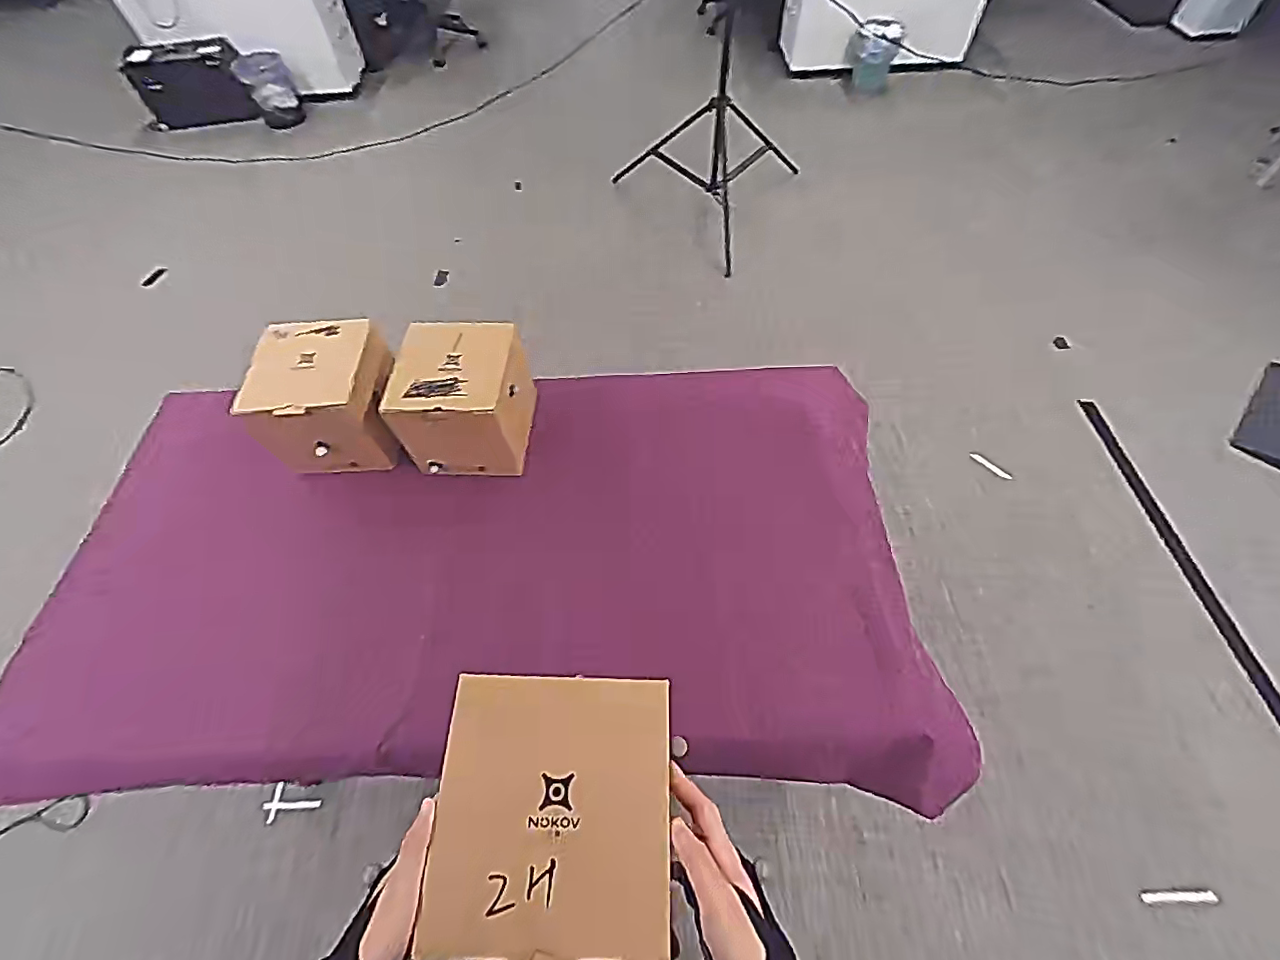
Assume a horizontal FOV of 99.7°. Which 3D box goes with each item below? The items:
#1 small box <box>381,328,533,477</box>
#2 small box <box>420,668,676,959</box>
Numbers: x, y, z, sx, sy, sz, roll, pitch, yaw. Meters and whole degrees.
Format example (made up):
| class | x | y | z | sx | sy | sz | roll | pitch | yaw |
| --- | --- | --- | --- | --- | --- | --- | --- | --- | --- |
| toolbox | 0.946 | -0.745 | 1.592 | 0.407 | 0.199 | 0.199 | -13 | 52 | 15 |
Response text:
| class | x | y | z | sx | sy | sz | roll | pitch | yaw |
| --- | --- | --- | --- | --- | --- | --- | --- | --- | --- |
| small box | -0.274 | -0.117 | 0.855 | 0.168 | 0.176 | 0.179 | 1 | 58 | 2 |
| small box | -0.060 | 0.269 | 0.455 | 0.168 | 0.176 | 0.179 | 3 | 60 | -1 |
